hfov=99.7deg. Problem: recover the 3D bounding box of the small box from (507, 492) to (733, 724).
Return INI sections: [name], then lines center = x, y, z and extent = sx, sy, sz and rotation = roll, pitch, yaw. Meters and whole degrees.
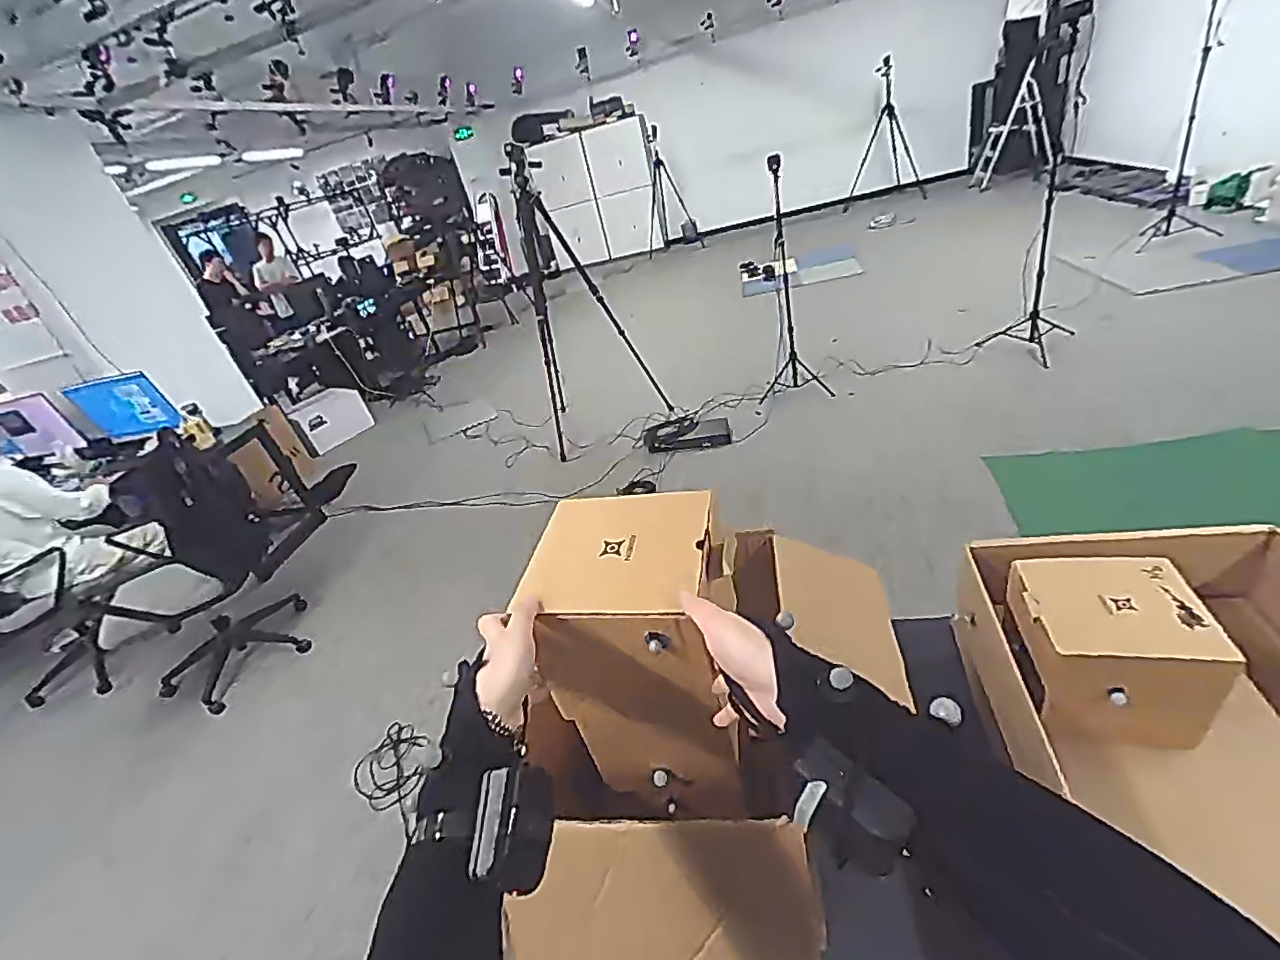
[small box]
center = -0.005, 0.132, 0.563
extent = 0.179, 0.176, 0.168
rotation = -4, 36, 15
